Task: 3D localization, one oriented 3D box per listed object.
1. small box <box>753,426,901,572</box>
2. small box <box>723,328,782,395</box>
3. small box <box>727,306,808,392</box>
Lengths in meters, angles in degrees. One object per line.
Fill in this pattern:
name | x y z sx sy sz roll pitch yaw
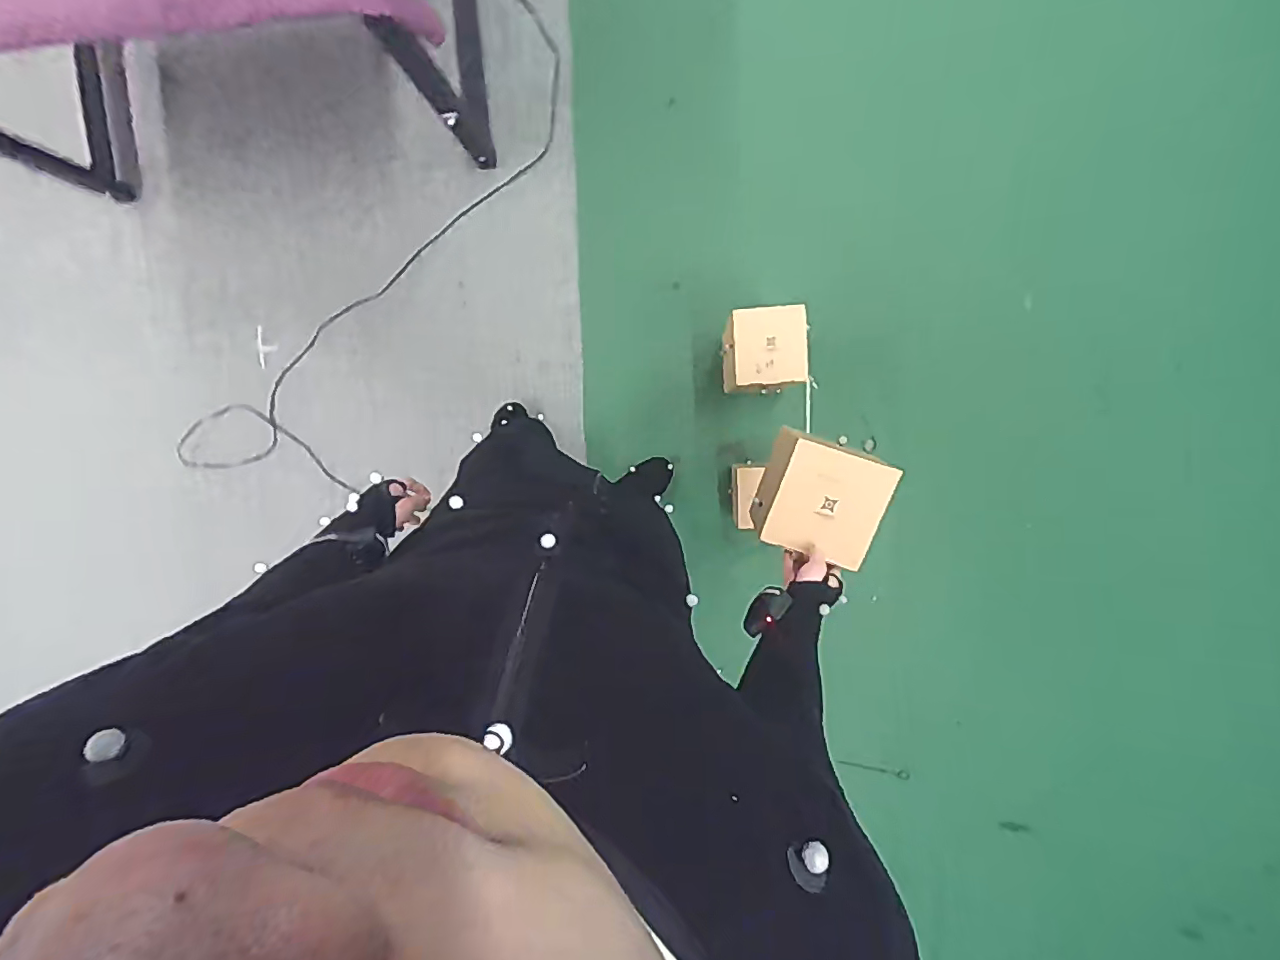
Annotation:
small box | 0.296 0.022 0.903 0.168 0.176 0.179 19 103 1
small box | 0.319 -0.323 1.474 0.179 0.176 0.168 -3 95 3
small box | 0.304 -0.310 1.310 0.168 0.176 0.179 -3 95 4
